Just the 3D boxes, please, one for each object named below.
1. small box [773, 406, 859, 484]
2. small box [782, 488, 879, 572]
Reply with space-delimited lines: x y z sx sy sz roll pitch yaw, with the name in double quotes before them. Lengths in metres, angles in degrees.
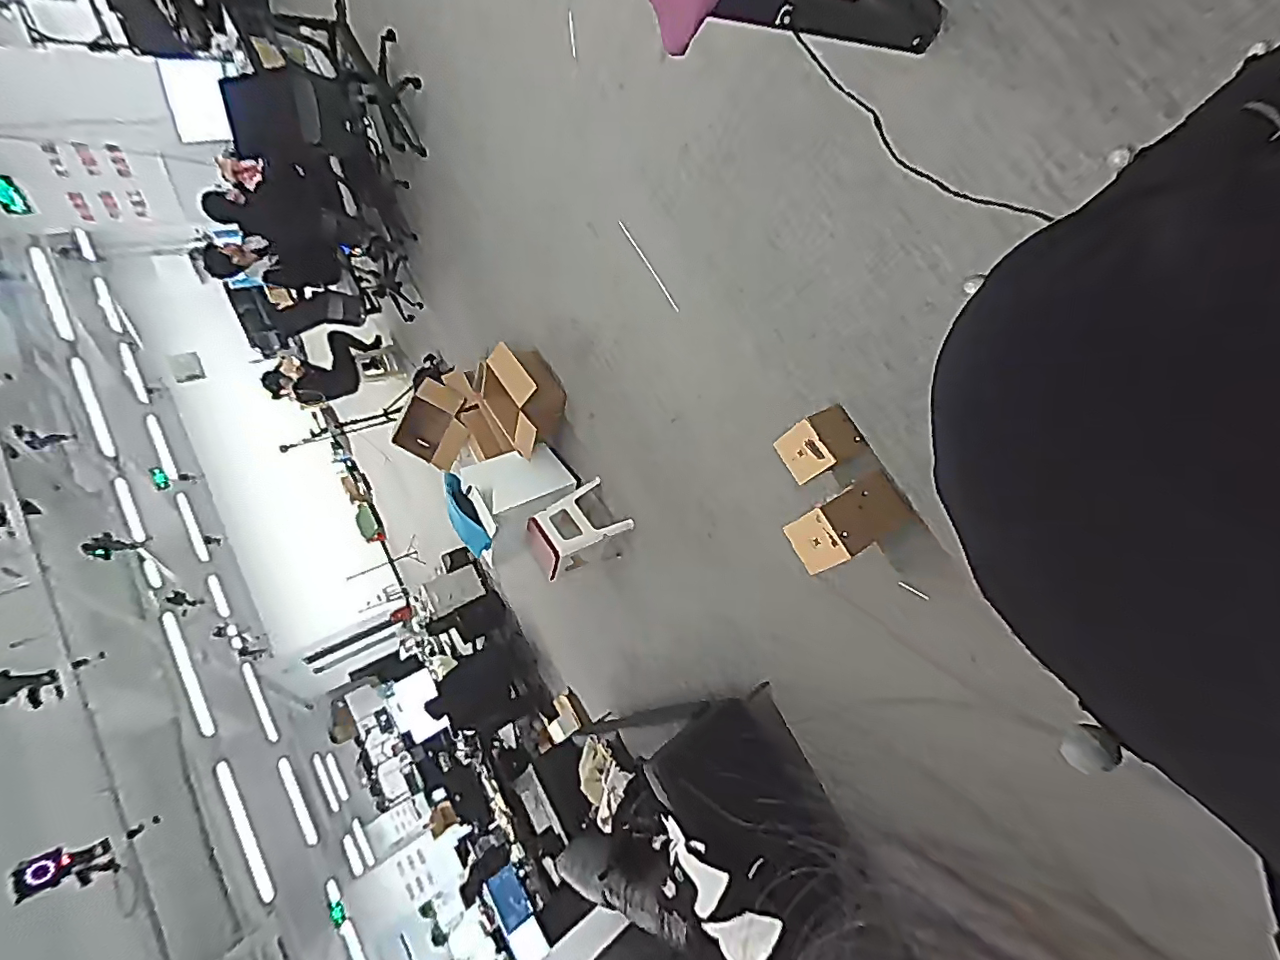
"small box" 0.570 -0.115 1.731 0.168 0.176 0.179 60 147 12
"small box" 0.563 0.148 1.599 0.168 0.176 0.179 60 148 11
